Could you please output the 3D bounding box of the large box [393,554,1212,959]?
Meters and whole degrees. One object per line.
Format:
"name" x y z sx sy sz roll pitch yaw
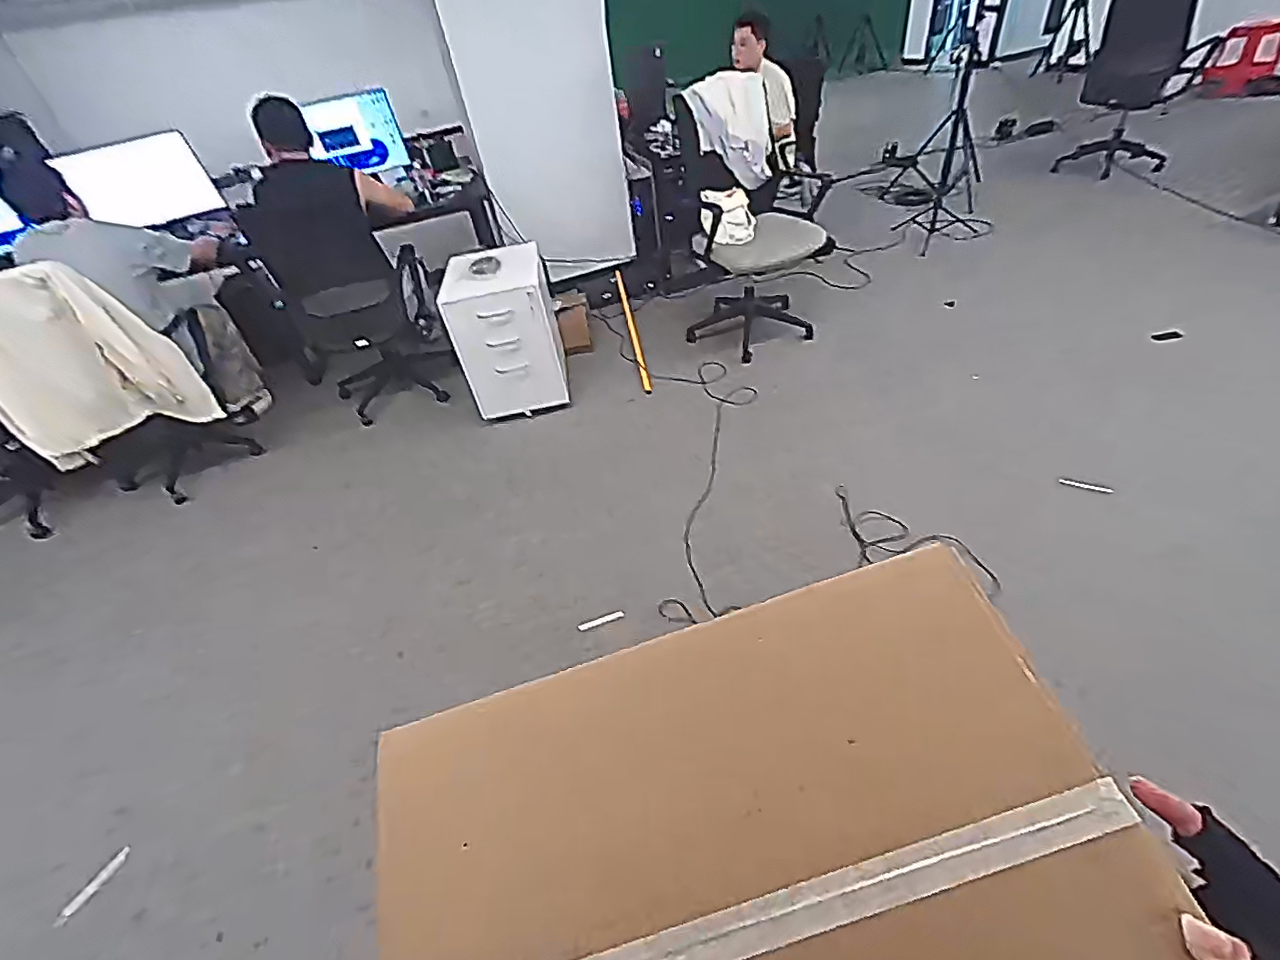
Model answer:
"large box" 0.089 0.310 0.411 0.408 0.320 0.320 -20 56 1
